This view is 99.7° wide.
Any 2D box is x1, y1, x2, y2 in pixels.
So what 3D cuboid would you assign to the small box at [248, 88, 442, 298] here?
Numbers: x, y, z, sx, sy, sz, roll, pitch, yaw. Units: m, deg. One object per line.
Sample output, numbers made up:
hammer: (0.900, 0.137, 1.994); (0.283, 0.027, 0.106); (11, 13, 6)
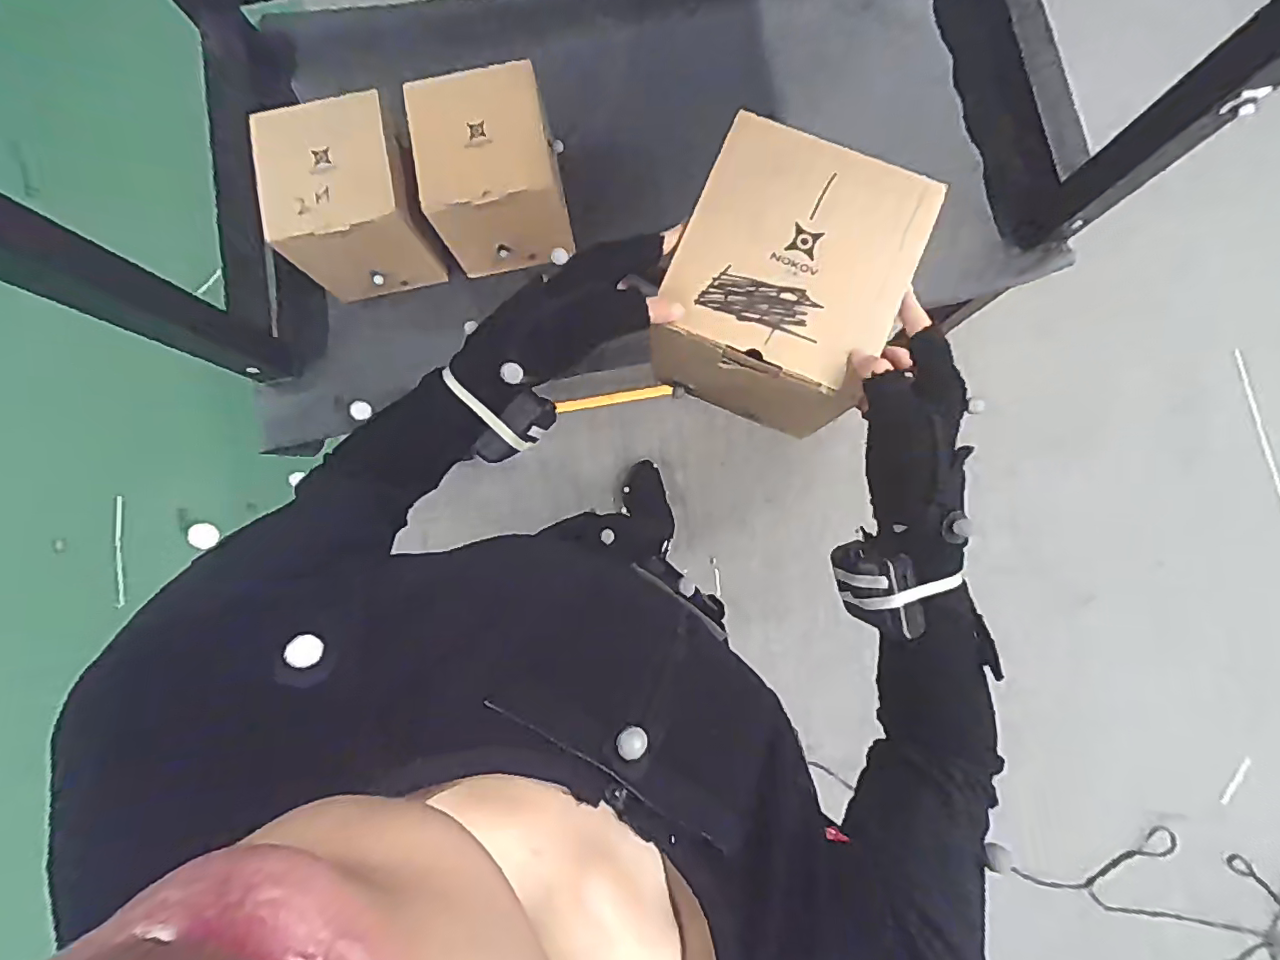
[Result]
small box: (-0.387, -0.377, 0.735); (0.168, 0.176, 0.179); (-11, 83, 1)
